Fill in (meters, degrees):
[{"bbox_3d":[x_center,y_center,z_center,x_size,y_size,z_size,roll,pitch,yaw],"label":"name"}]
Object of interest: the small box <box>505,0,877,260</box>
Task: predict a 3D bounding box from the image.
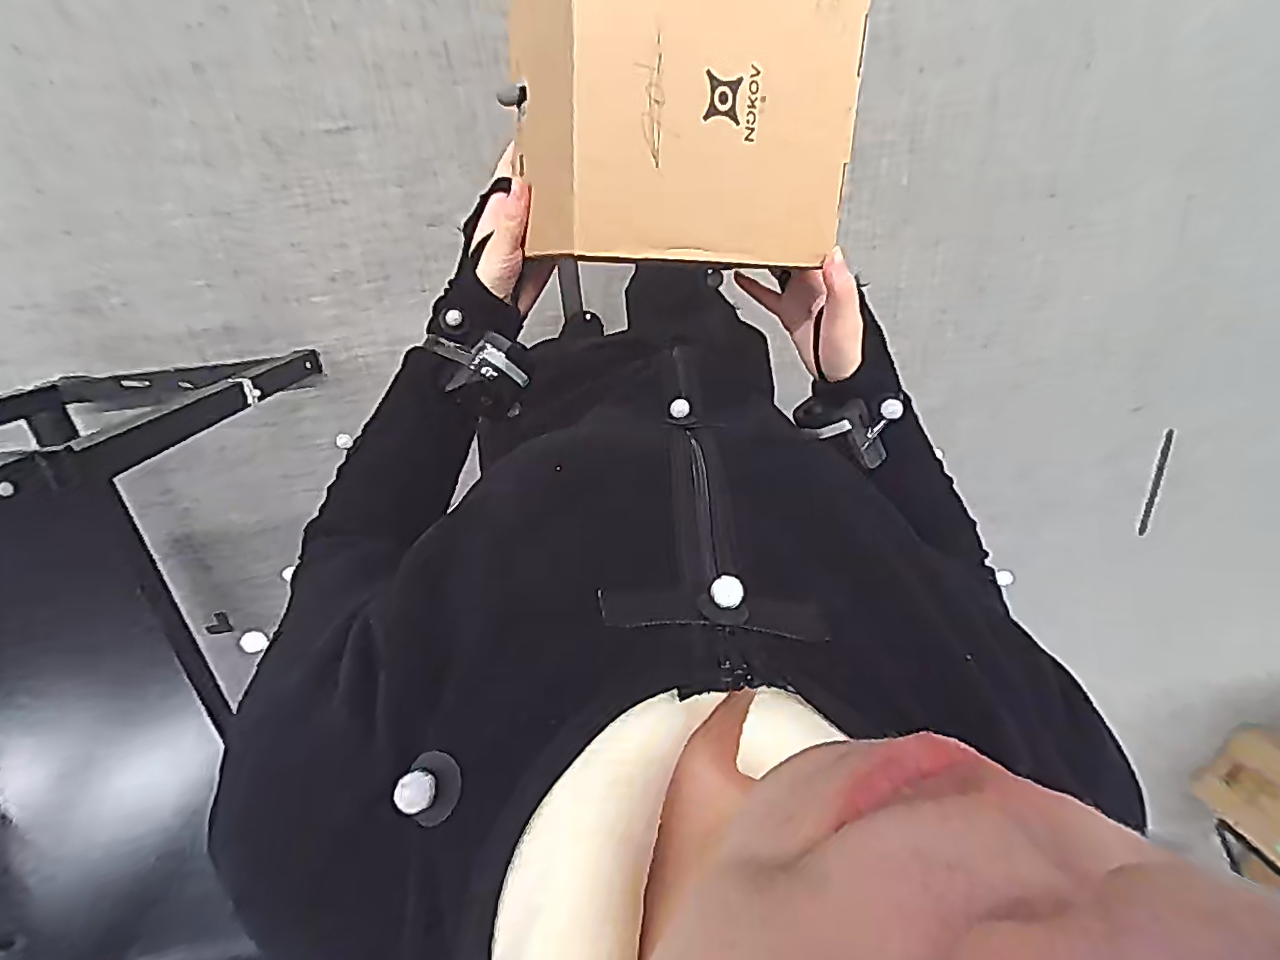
[{"bbox_3d":[0.018,-0.236,0.350,0.179,0.176,0.168,-6,112,-21],"label":"small box"}]
